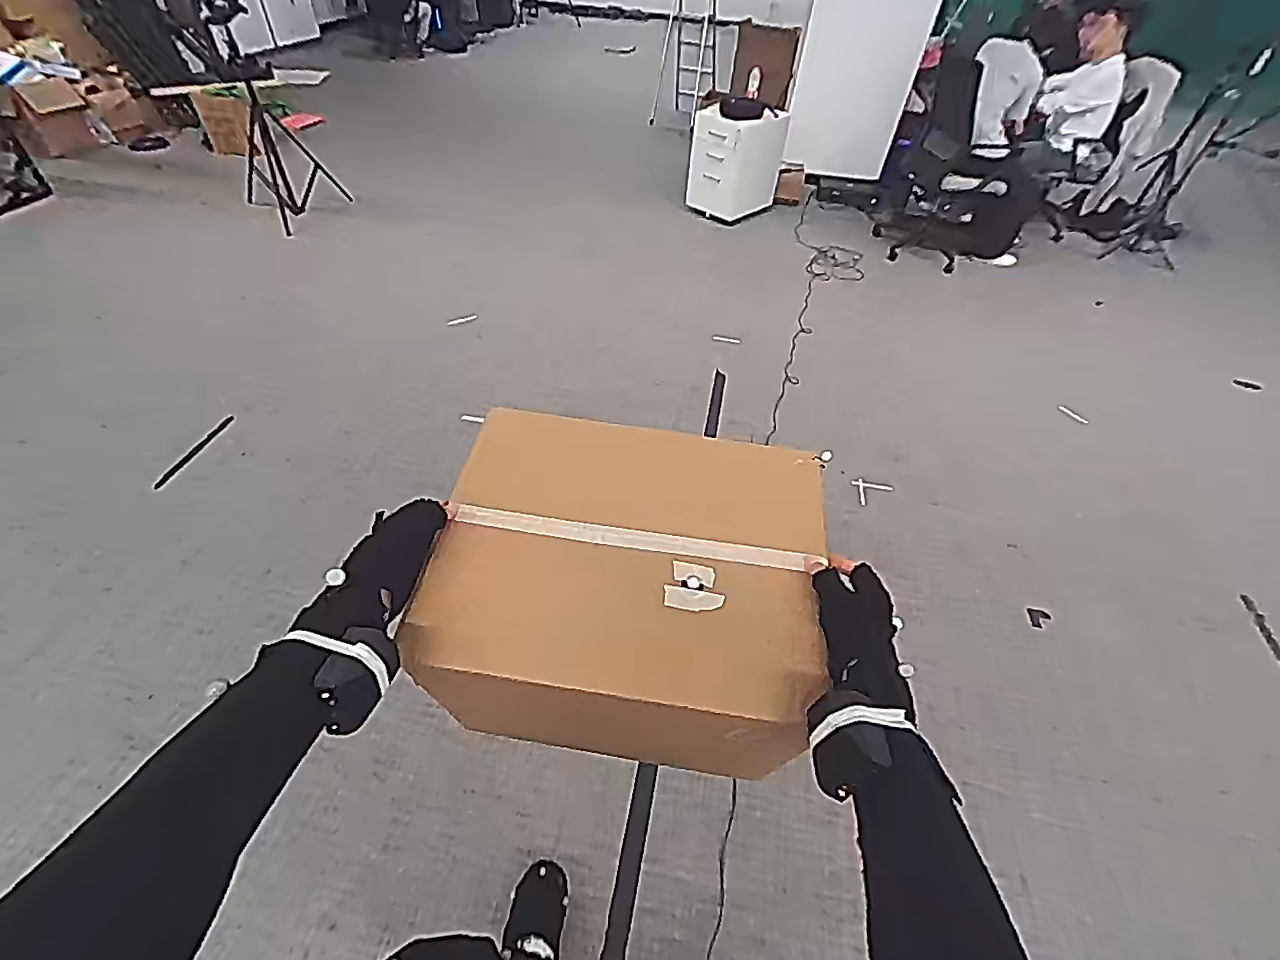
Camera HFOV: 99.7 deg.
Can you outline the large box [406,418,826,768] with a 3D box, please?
[{"bbox_3d":[-0.016,0.156,0.705,0.408,0.320,0.320,8,54,2],"label":"large box"}]
